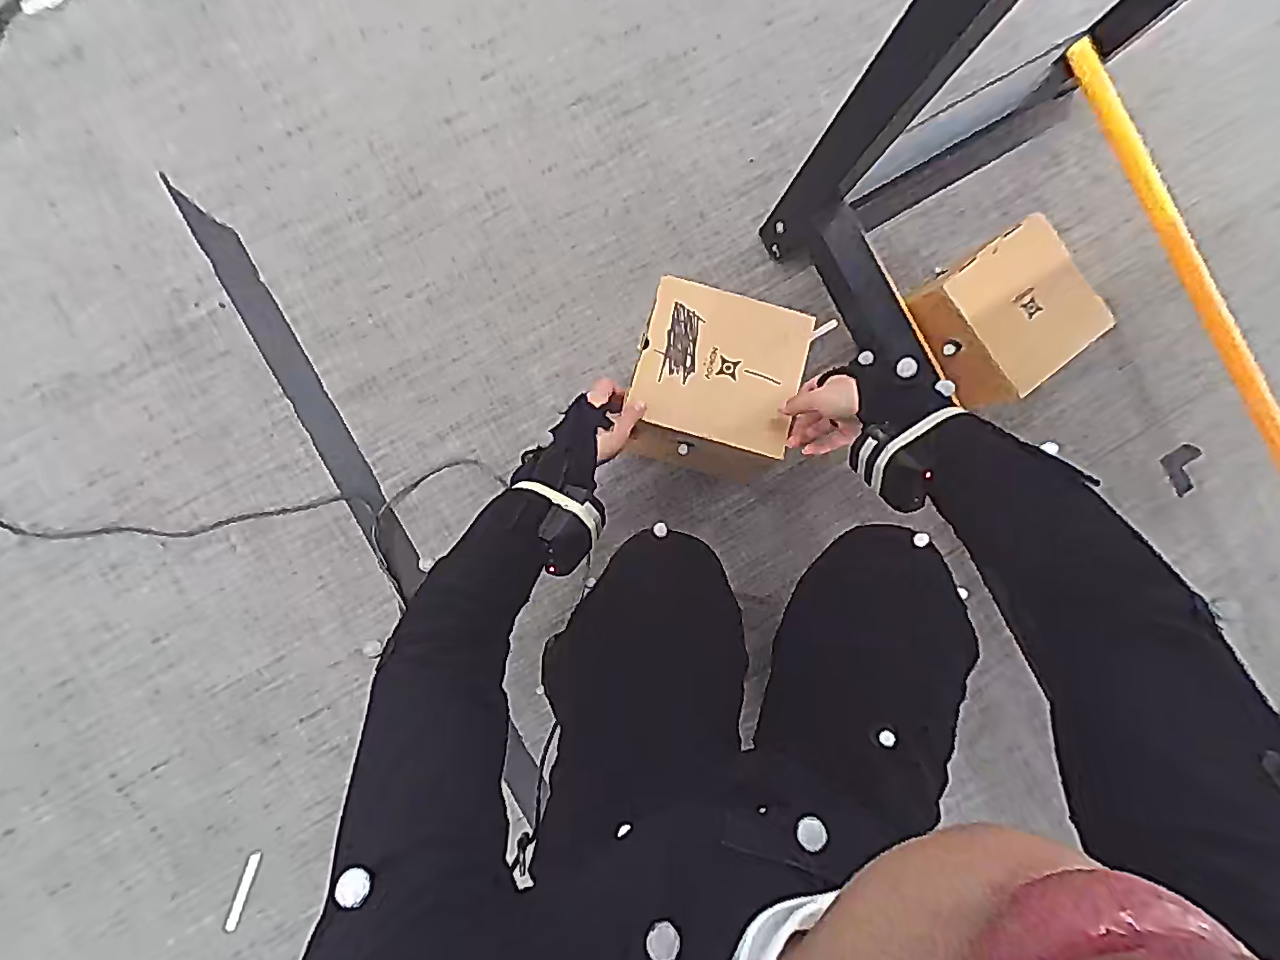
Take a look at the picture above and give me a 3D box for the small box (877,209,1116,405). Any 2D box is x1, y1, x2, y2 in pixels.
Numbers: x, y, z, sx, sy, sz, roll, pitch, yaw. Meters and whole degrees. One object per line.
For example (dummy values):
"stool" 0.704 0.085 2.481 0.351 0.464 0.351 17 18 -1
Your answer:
"small box" 0.472 -0.218 0.743 0.168 0.176 0.179 -38 92 -5
